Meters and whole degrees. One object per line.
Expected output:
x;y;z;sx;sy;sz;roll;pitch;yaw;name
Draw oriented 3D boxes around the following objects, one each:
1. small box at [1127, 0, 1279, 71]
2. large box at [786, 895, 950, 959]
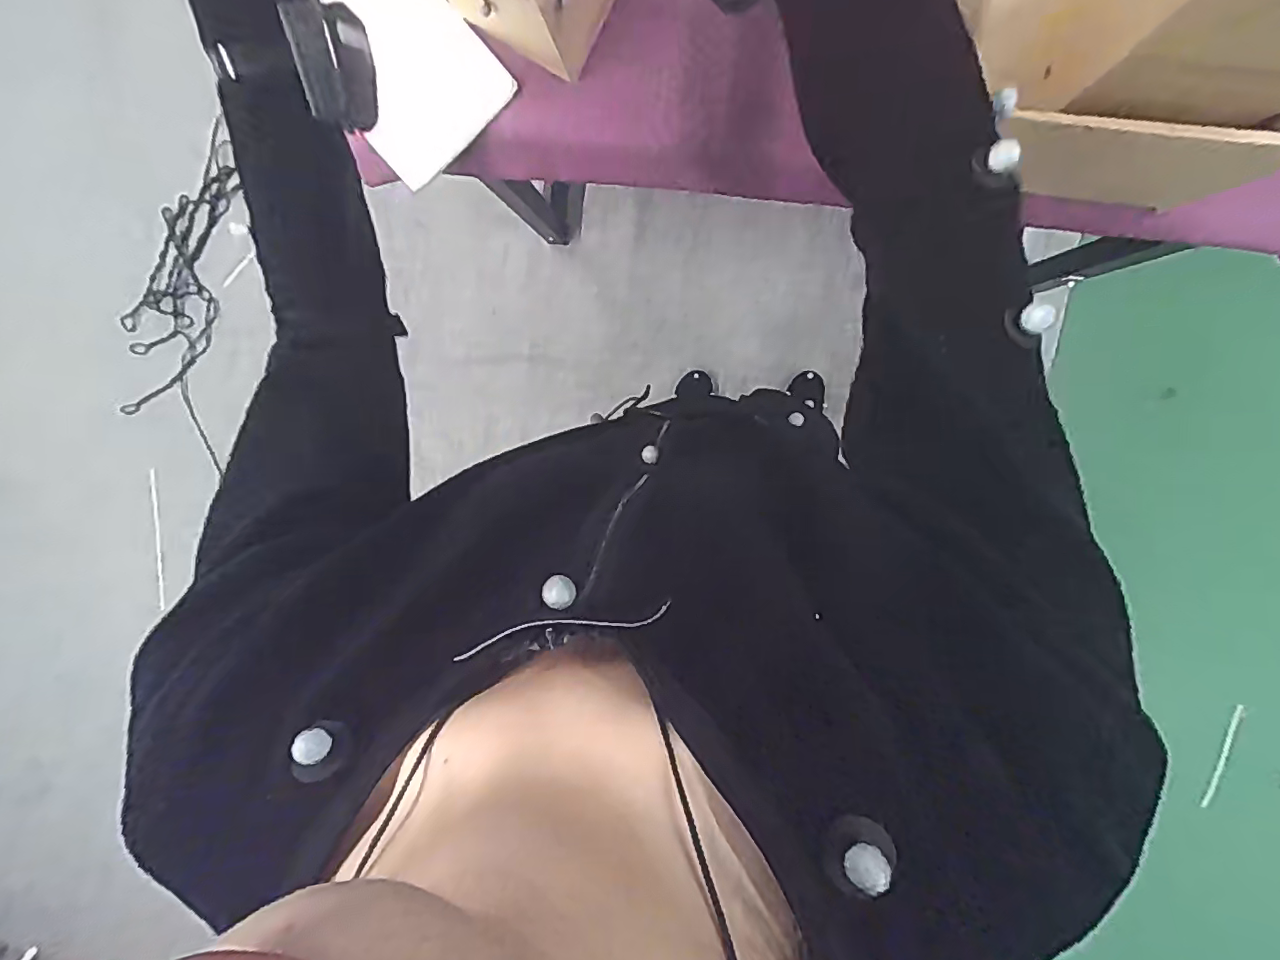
0.487;-0.401;0.347;0.179;0.176;0.168;12;100;7;small box
0.648;1.431;1.510;0.408;0.320;0.320;-7;99;6;large box
